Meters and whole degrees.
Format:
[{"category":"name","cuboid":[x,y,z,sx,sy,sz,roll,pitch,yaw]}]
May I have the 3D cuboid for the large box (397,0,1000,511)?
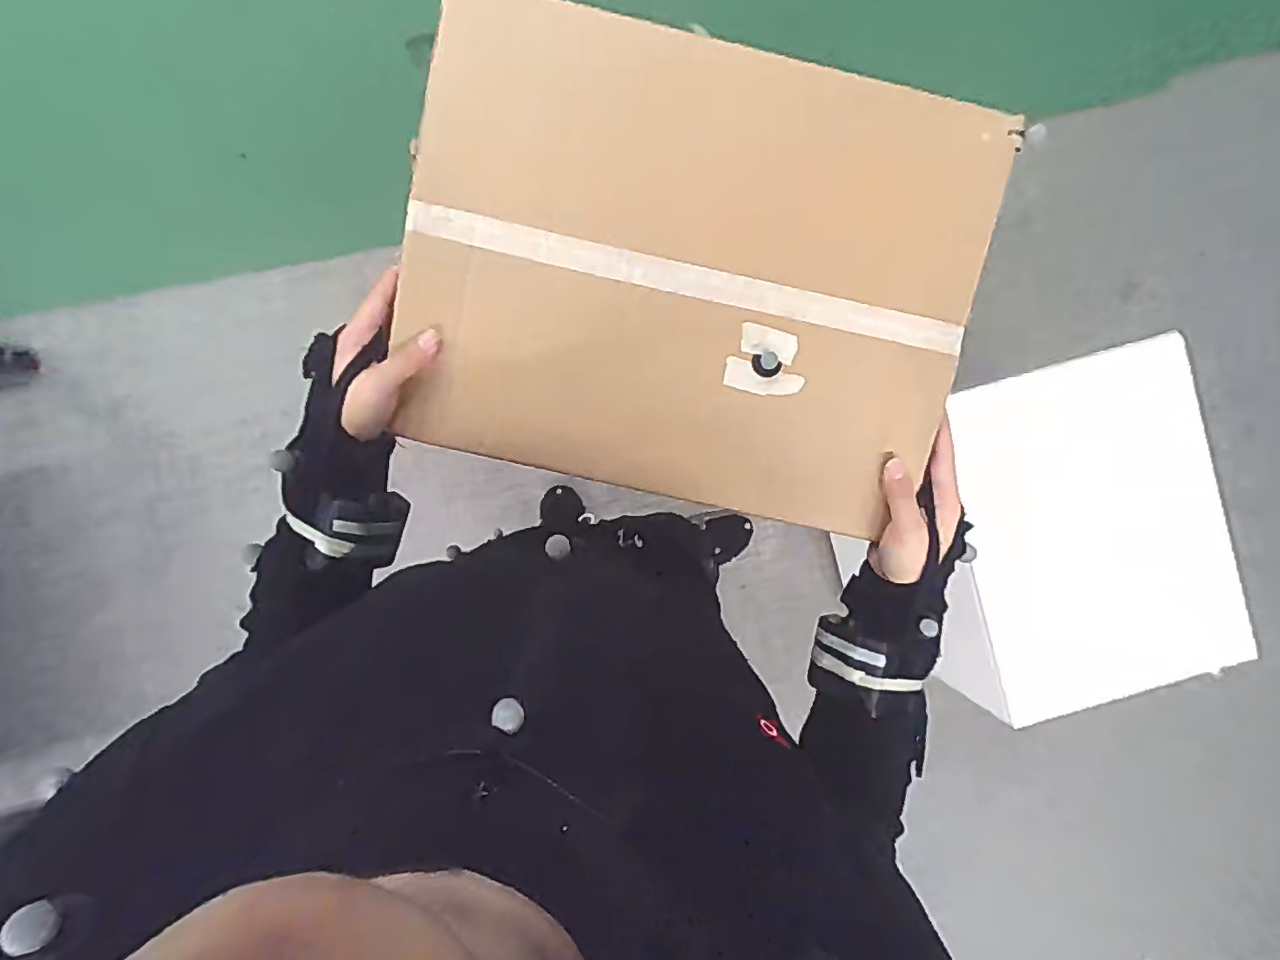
[{"category":"large box","cuboid":[0.032,-0.177,0.542,0.408,0.320,0.320,11,99,-3]}]
